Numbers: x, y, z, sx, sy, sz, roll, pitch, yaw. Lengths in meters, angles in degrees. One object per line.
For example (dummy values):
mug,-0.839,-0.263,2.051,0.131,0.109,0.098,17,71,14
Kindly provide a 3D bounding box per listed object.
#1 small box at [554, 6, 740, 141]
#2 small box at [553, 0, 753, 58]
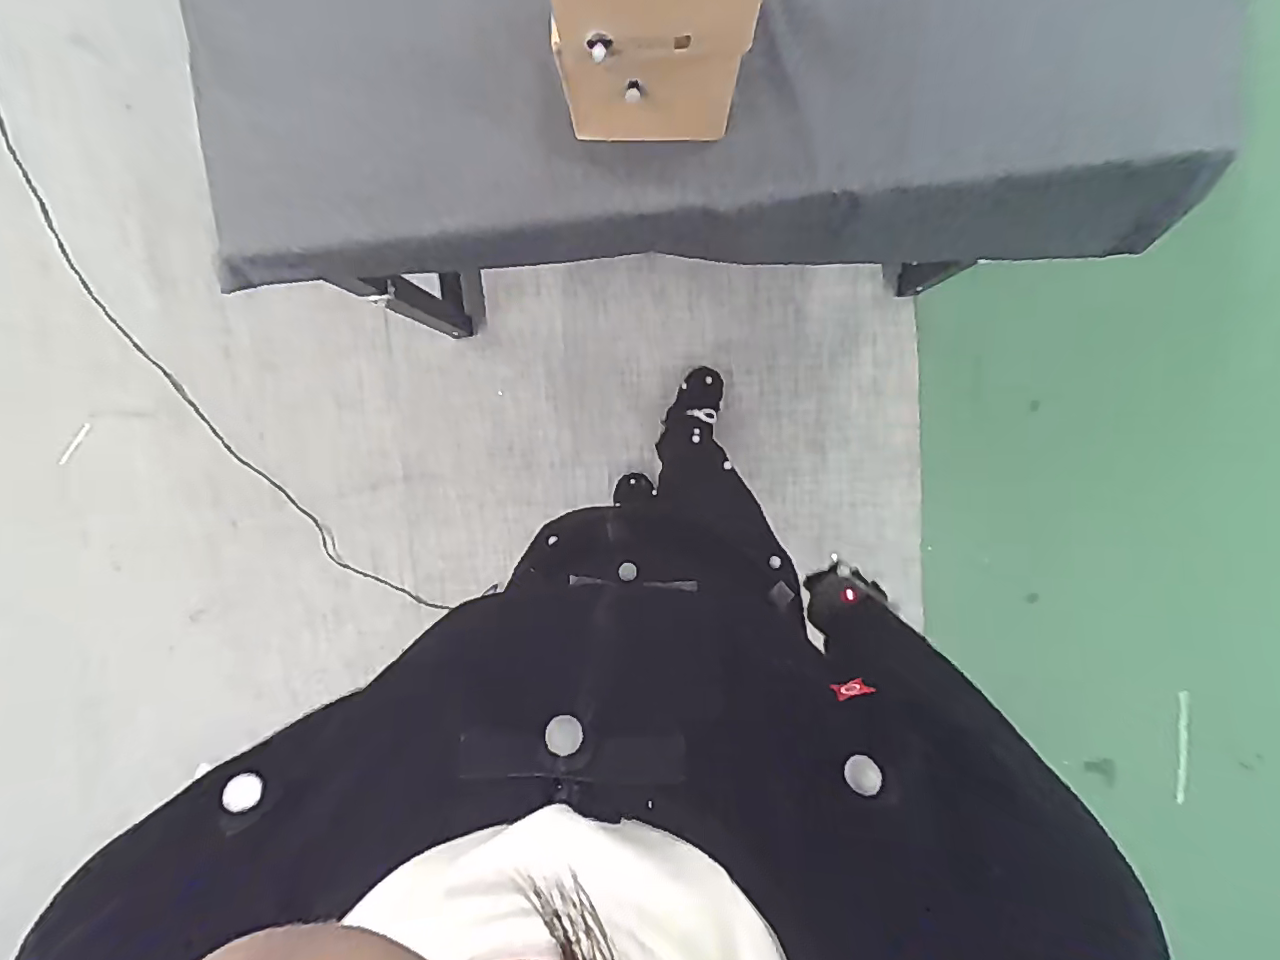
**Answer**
small box,0.011,-0.485,0.566,0.179,0.176,0.168,-2,93,2
small box,0.003,-0.457,0.401,0.168,0.176,0.179,-7,95,3
